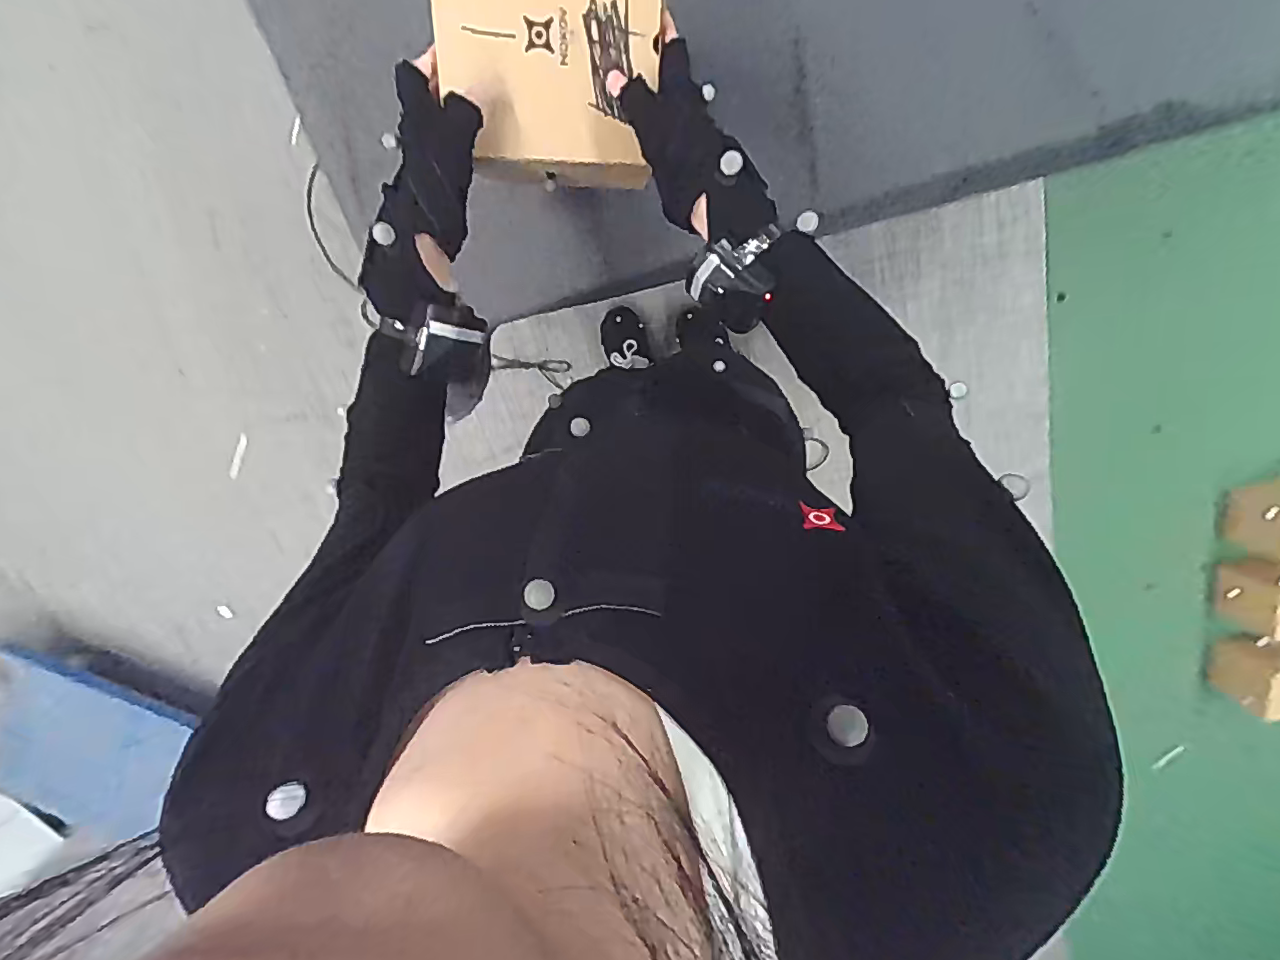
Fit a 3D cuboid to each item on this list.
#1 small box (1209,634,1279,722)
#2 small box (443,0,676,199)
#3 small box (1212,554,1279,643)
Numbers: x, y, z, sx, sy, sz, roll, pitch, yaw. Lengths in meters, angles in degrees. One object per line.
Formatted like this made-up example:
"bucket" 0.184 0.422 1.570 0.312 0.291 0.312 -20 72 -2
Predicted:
"small box" 1.870 0.584 1.615 0.168 0.176 0.179 -13 108 4
"small box" -0.067 -0.358 0.490 0.179 0.176 0.168 1 112 -4
"small box" 1.803 0.330 1.535 0.179 0.176 0.168 -15 108 6
